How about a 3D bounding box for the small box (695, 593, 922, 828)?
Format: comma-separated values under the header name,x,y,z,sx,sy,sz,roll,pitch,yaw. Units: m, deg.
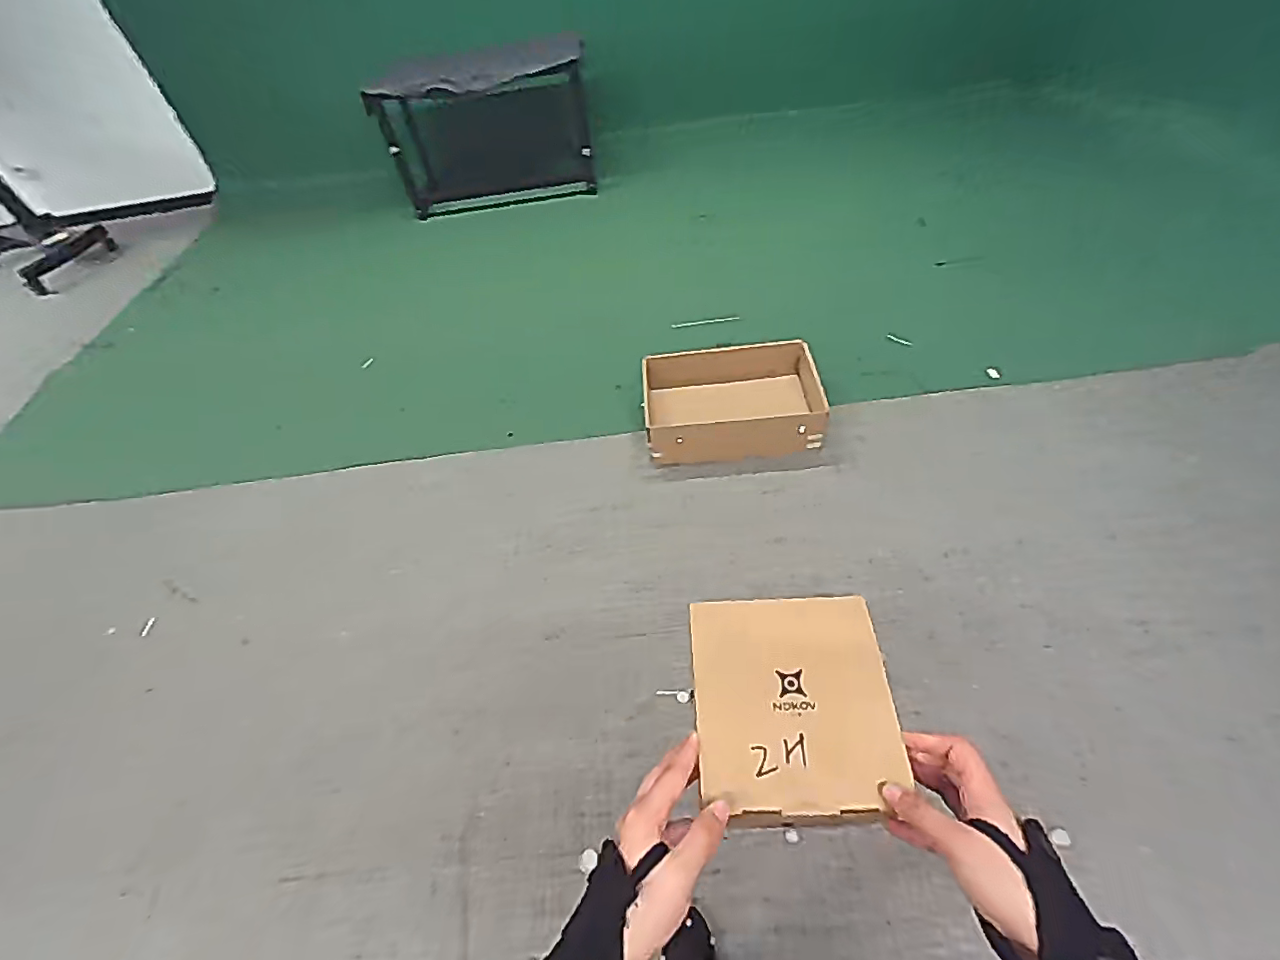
name,x,y,z,sx,sy,sz,roll,pitch,yaw
small box,0.139,0.225,0.523,0.168,0.176,0.179,-2,54,4
